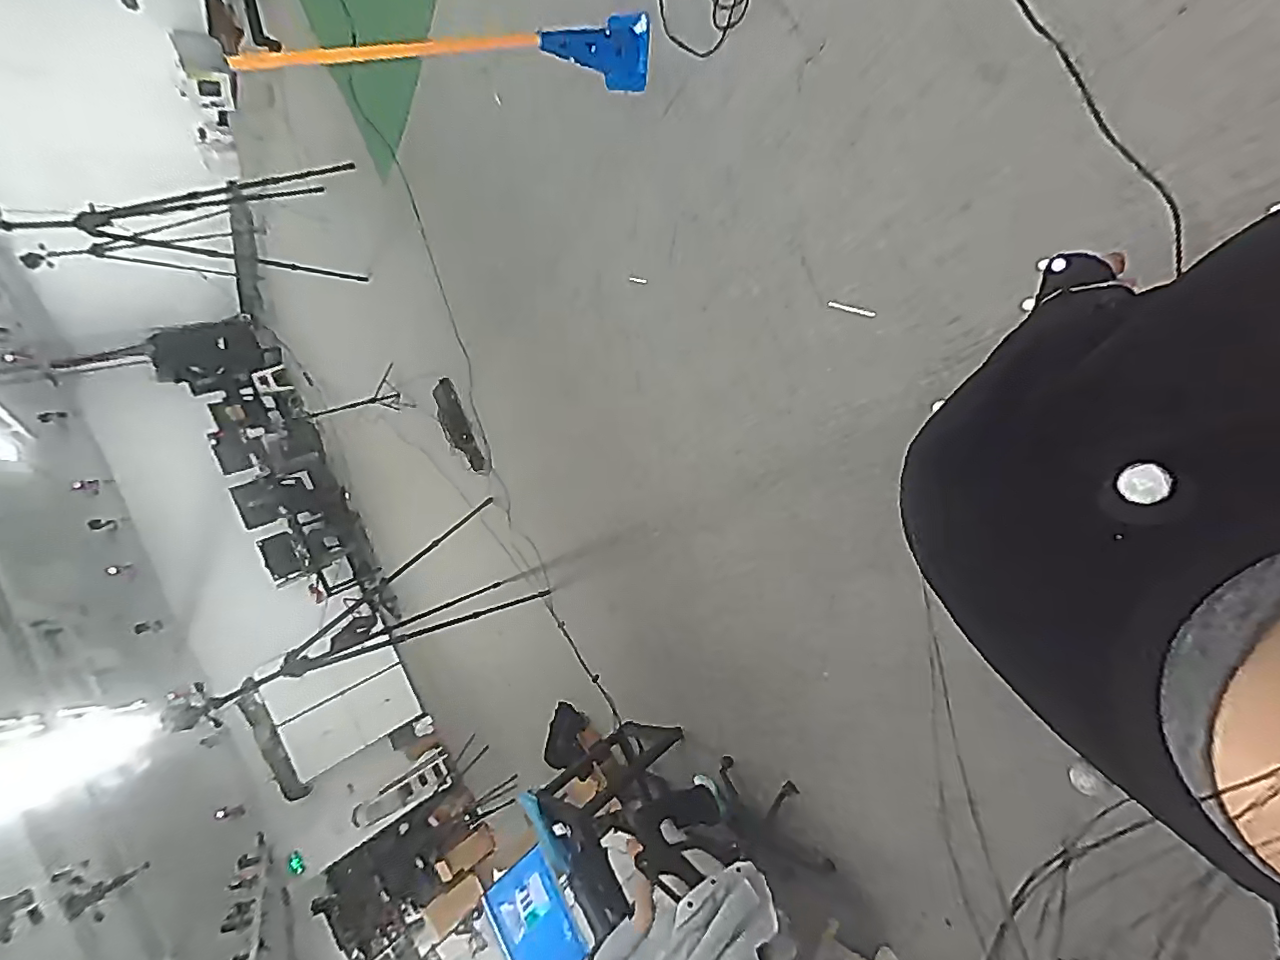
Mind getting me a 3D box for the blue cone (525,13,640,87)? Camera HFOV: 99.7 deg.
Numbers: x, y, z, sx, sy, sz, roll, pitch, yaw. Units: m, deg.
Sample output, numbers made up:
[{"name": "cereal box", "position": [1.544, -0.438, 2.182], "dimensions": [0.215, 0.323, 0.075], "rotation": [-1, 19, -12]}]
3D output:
[{"name": "blue cone", "position": [-0.185, -1.350, 1.679], "dimensions": [0.192, 0.380, 0.193], "rotation": [32, 133, 35]}]
